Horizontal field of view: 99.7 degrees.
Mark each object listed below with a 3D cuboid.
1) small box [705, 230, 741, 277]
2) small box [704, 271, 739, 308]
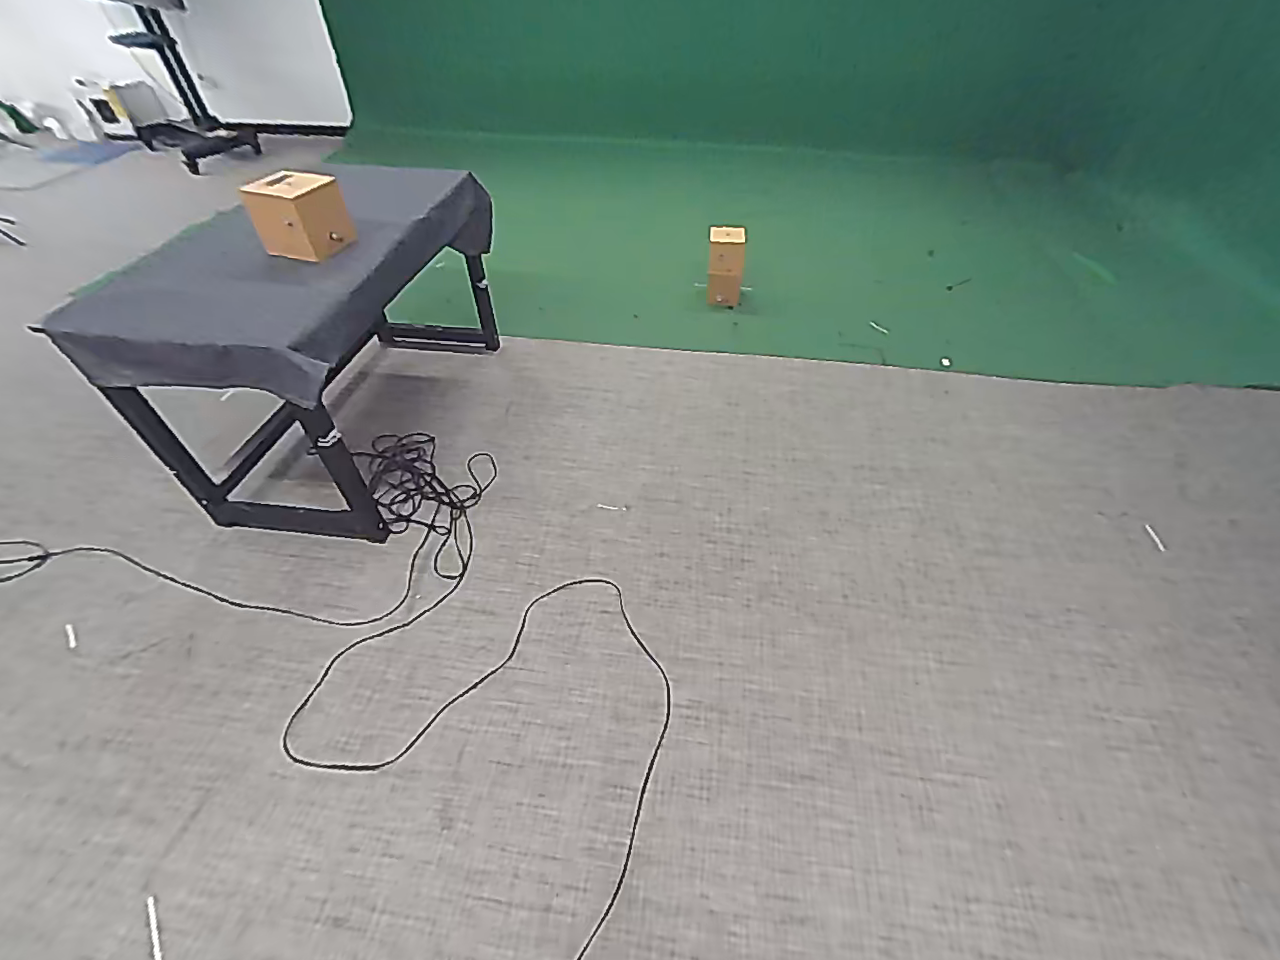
[{"bbox_3d":[0.410,-1.120,2.673,0.168,0.176,0.179,4,45,4],"label":"small box"},{"bbox_3d":[0.420,-1.009,2.792,0.168,0.176,0.179,4,47,5],"label":"small box"}]
